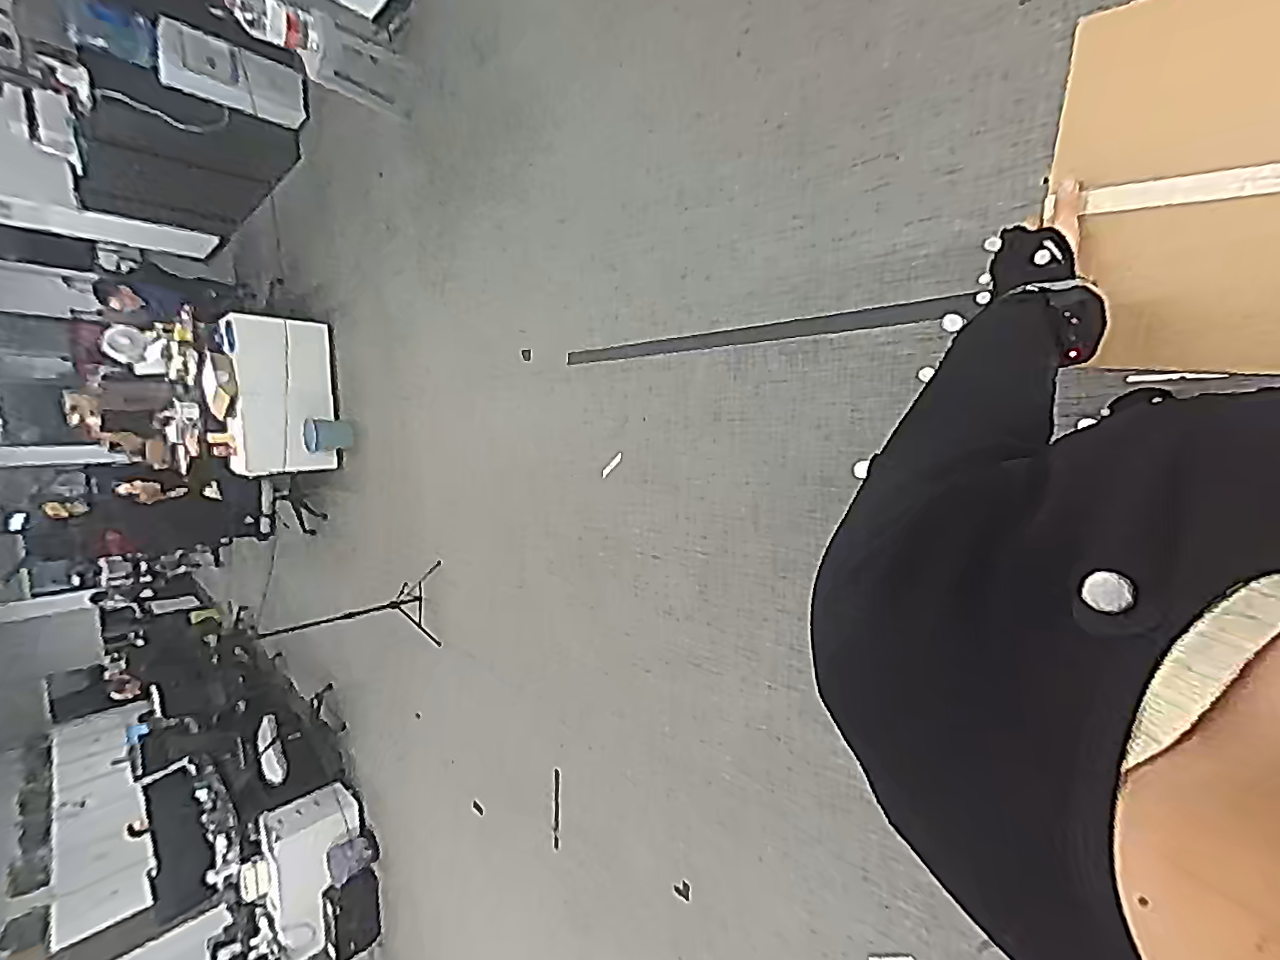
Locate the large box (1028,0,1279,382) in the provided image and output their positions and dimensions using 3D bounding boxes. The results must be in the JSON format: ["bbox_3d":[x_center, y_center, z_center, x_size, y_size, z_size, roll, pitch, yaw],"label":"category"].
[{"bbox_3d":[0.650,-0.260,0.504,0.408,0.320,0.320,13,112,43],"label":"large box"}]
